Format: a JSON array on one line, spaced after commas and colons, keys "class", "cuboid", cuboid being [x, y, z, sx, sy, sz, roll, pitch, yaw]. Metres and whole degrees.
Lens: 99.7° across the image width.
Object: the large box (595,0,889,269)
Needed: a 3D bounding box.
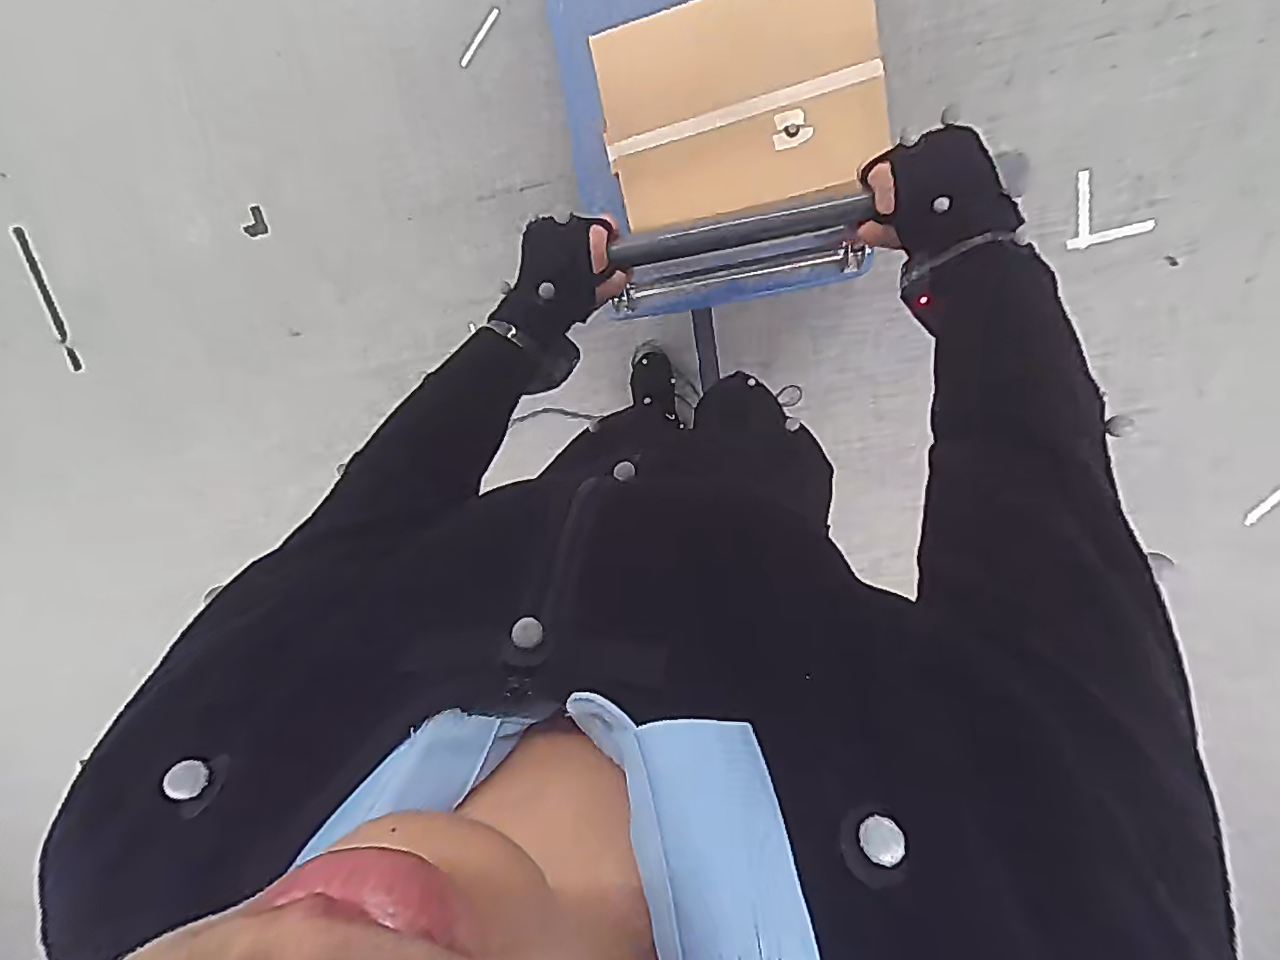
[{"class": "large box", "cuboid": [0.171, -0.601, 0.968, 0.408, 0.320, 0.320, -12, 106, 9]}]
